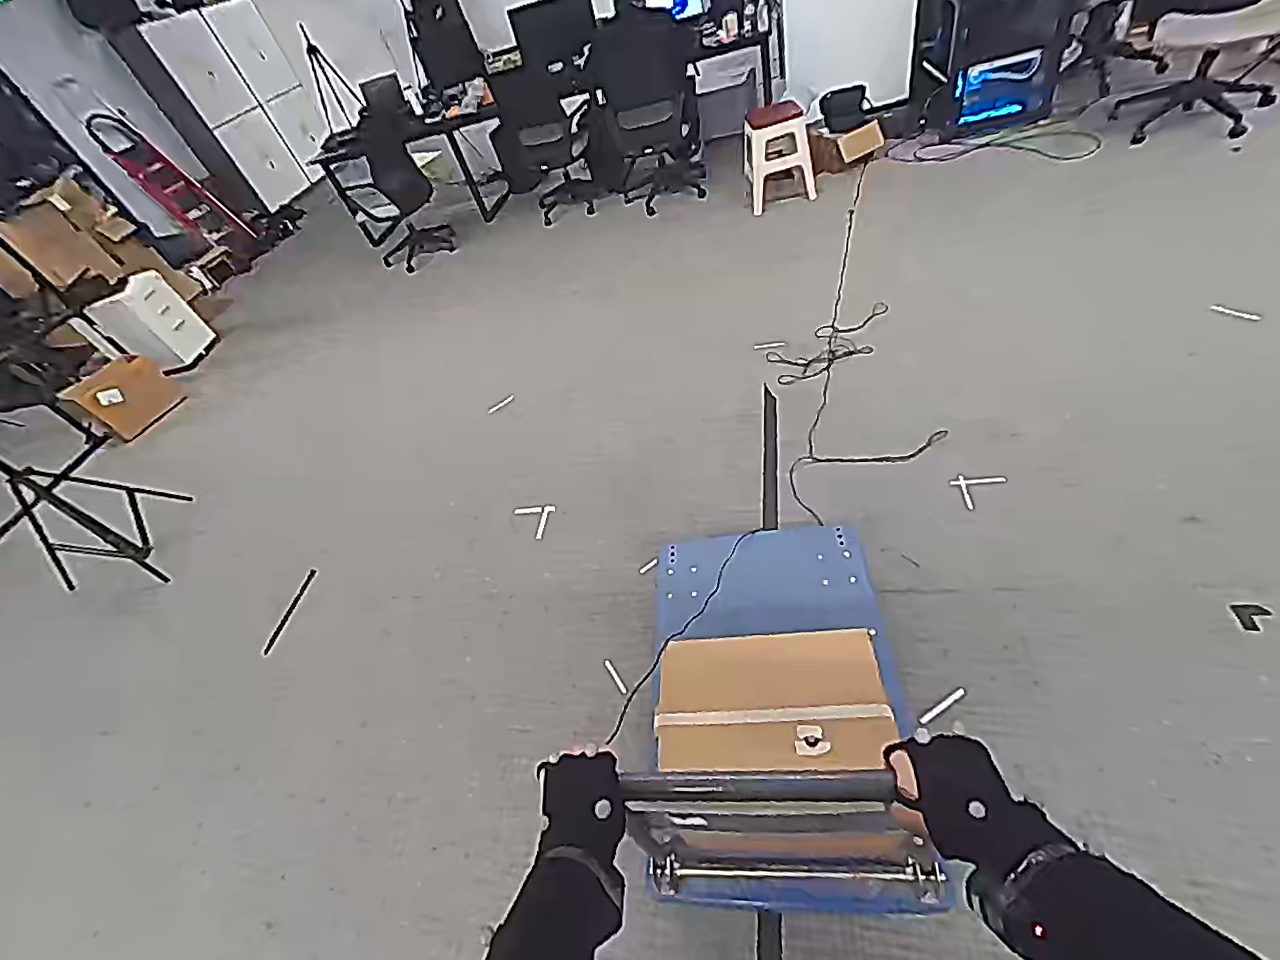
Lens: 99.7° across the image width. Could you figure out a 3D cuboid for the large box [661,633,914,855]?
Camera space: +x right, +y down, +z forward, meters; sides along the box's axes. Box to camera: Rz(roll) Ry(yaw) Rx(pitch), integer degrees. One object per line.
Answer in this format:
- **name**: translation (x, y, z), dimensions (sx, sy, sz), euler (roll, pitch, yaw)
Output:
- **large box**: translation (0.266, 0.527, 1.064), dimensions (0.408, 0.320, 0.320), euler (-7, 47, 12)
